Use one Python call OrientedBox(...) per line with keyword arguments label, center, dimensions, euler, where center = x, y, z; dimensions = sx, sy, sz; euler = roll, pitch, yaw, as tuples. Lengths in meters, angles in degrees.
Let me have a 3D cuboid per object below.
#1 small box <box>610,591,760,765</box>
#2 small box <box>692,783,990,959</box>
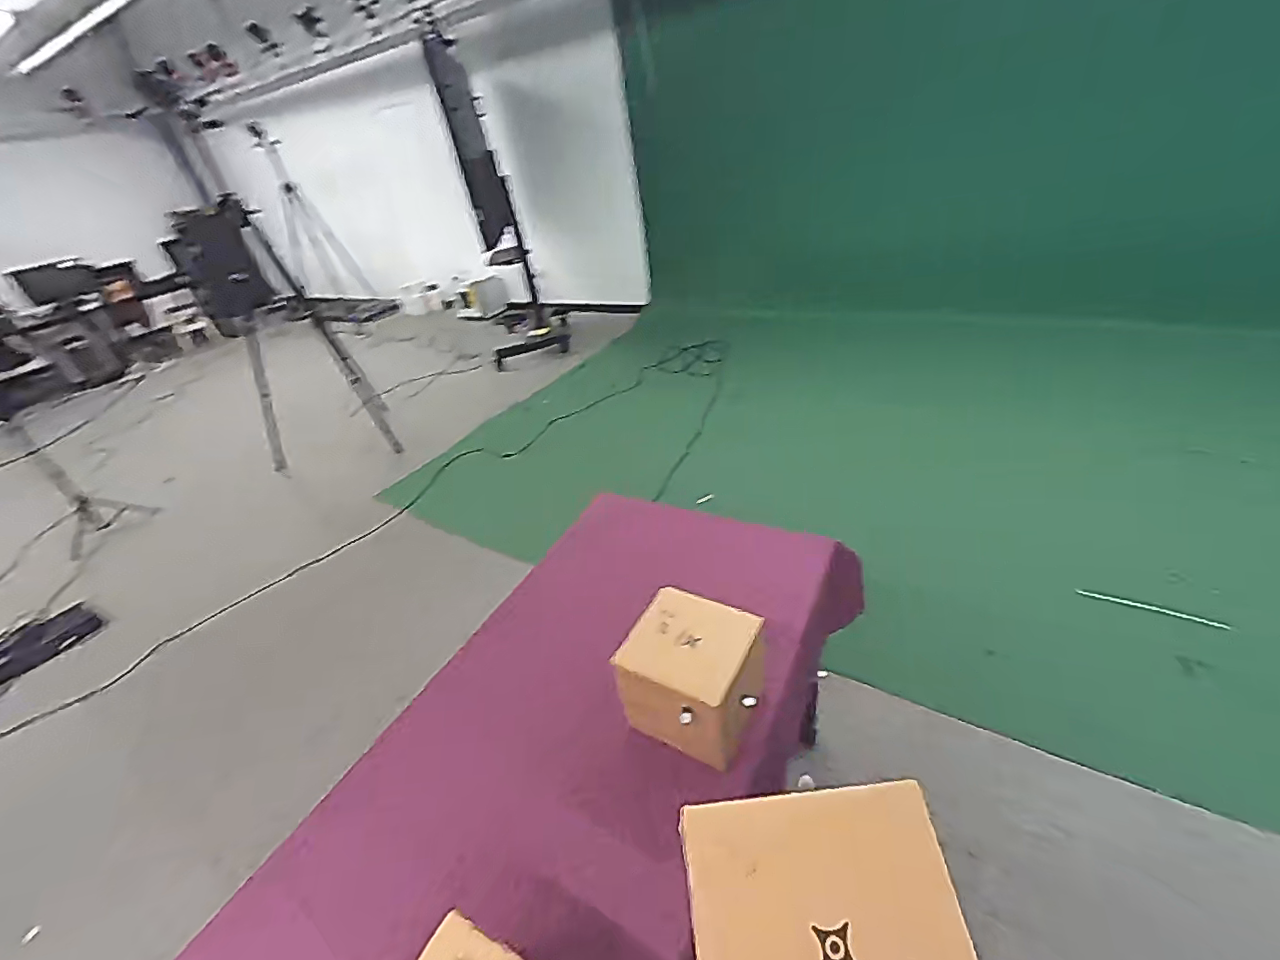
OrientedBox(label="small box", center=(0.081, 0.310, 0.850), dimensions=(0.179, 0.176, 0.168), euler=(12, 39, 31))
OrientedBox(label="small box", center=(0.130, 0.332, 0.392), dimensions=(0.168, 0.176, 0.179), euler=(-6, 57, 0))
